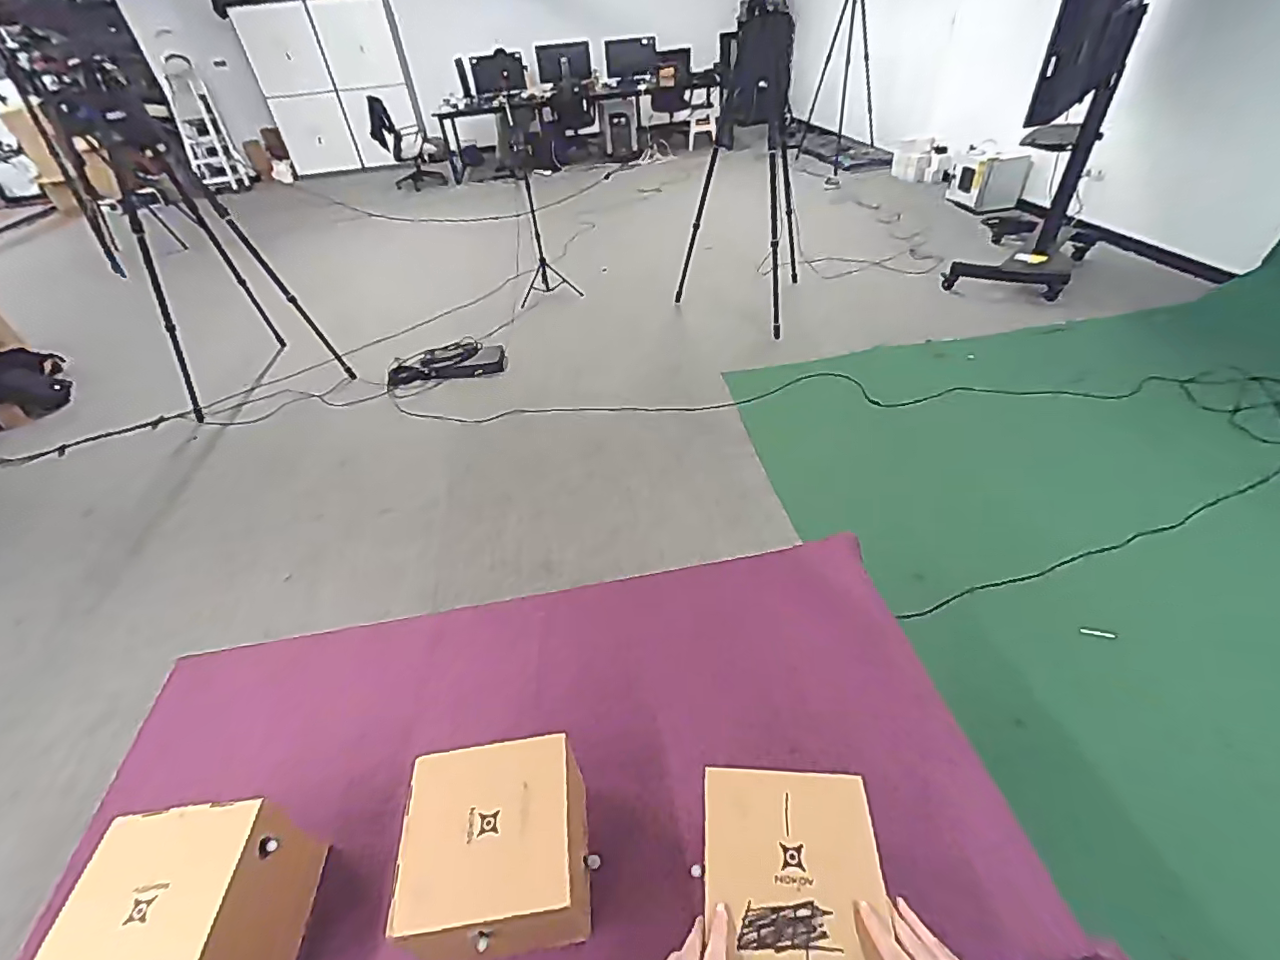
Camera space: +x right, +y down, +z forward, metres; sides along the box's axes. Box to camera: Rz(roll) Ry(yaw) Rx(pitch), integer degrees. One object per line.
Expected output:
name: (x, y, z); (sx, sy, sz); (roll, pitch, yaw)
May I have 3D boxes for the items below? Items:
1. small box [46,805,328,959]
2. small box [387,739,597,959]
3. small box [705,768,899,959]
small box: (-0.479, 0.489, 0.590); (0.168, 0.176, 0.179); (-8, 40, 0)
small box: (-0.151, 0.425, 0.616); (0.179, 0.176, 0.168); (-9, 41, -2)
small box: (0.153, 0.429, 0.564); (0.168, 0.176, 0.179); (-1, 40, 7)
